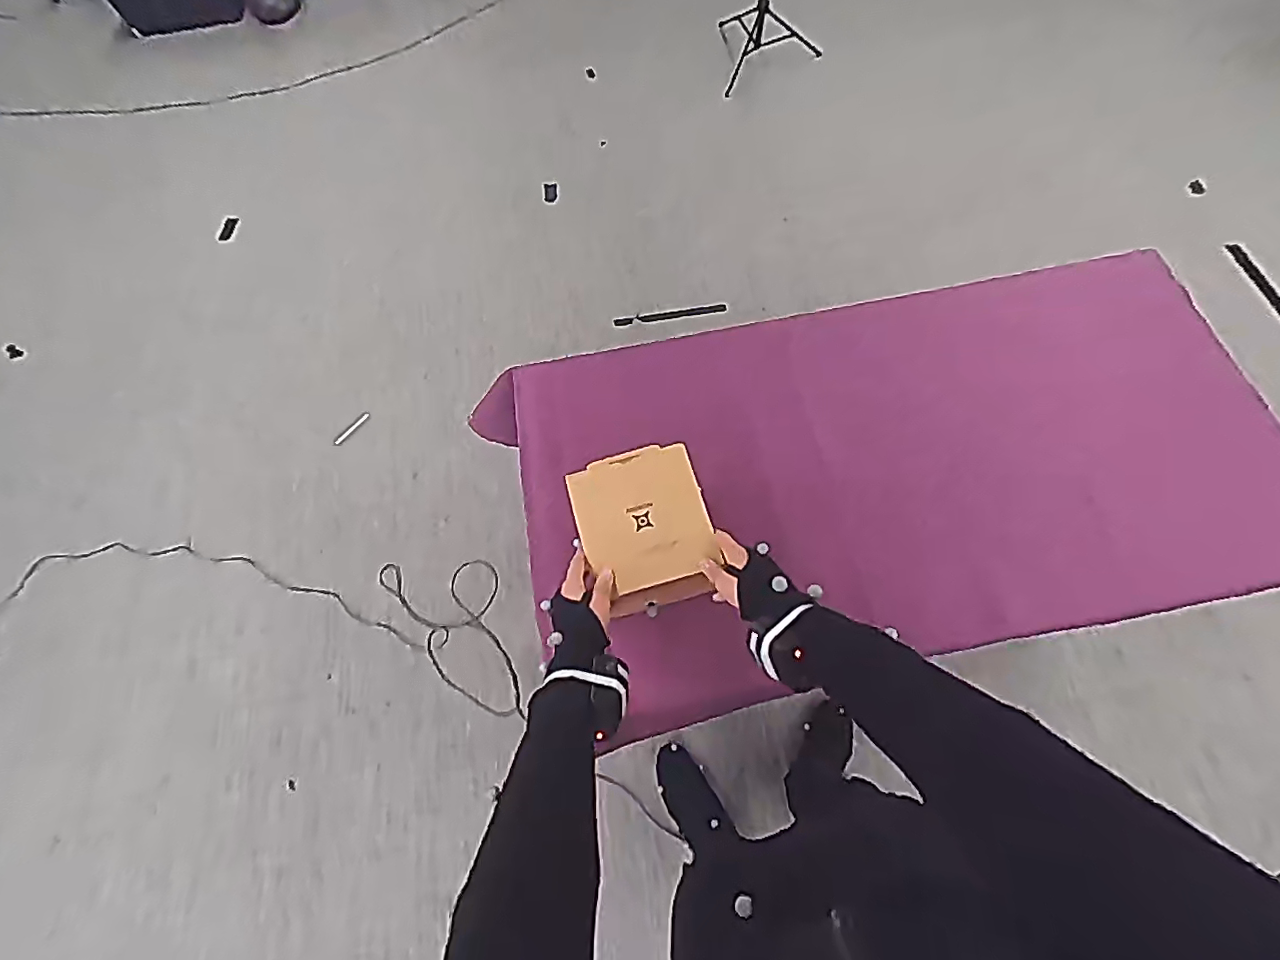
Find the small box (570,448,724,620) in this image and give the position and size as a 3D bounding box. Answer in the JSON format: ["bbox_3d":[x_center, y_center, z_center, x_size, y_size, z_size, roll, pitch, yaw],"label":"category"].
[{"bbox_3d":[0.007,0.082,0.766,0.168,0.176,0.179,-15,67,-3],"label":"small box"}]
